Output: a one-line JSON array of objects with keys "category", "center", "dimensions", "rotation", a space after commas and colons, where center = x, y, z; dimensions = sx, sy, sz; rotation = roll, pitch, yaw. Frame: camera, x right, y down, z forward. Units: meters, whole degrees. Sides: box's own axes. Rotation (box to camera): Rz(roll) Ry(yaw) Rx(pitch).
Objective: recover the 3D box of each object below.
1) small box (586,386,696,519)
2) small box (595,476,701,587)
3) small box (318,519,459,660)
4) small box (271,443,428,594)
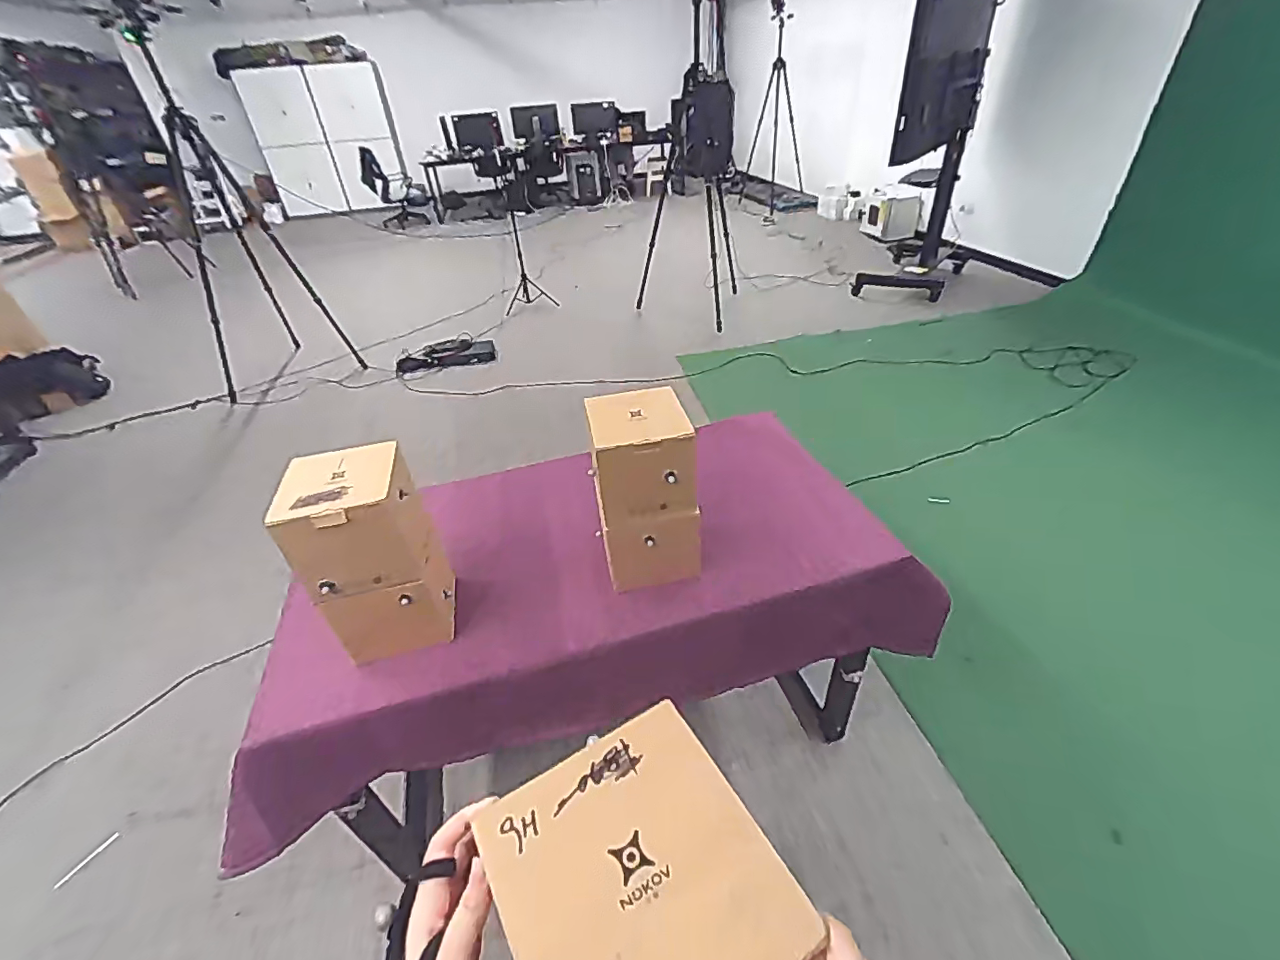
[{"category": "small box", "center": [0.001, -0.045, 0.969], "dimensions": [0.168, 0.176, 0.179], "rotation": [-10, 37, -6]}, {"category": "small box", "center": [0.017, 0.089, 1.060], "dimensions": [0.179, 0.176, 0.168], "rotation": [-10, 38, -5]}, {"category": "small box", "center": [-0.441, 0.199, 0.981], "dimensions": [0.179, 0.176, 0.168], "rotation": [-12, 37, -9]}, {"category": "small box", "center": [-0.457, 0.066, 0.885], "dimensions": [0.168, 0.176, 0.179], "rotation": [-12, 36, -10]}]
